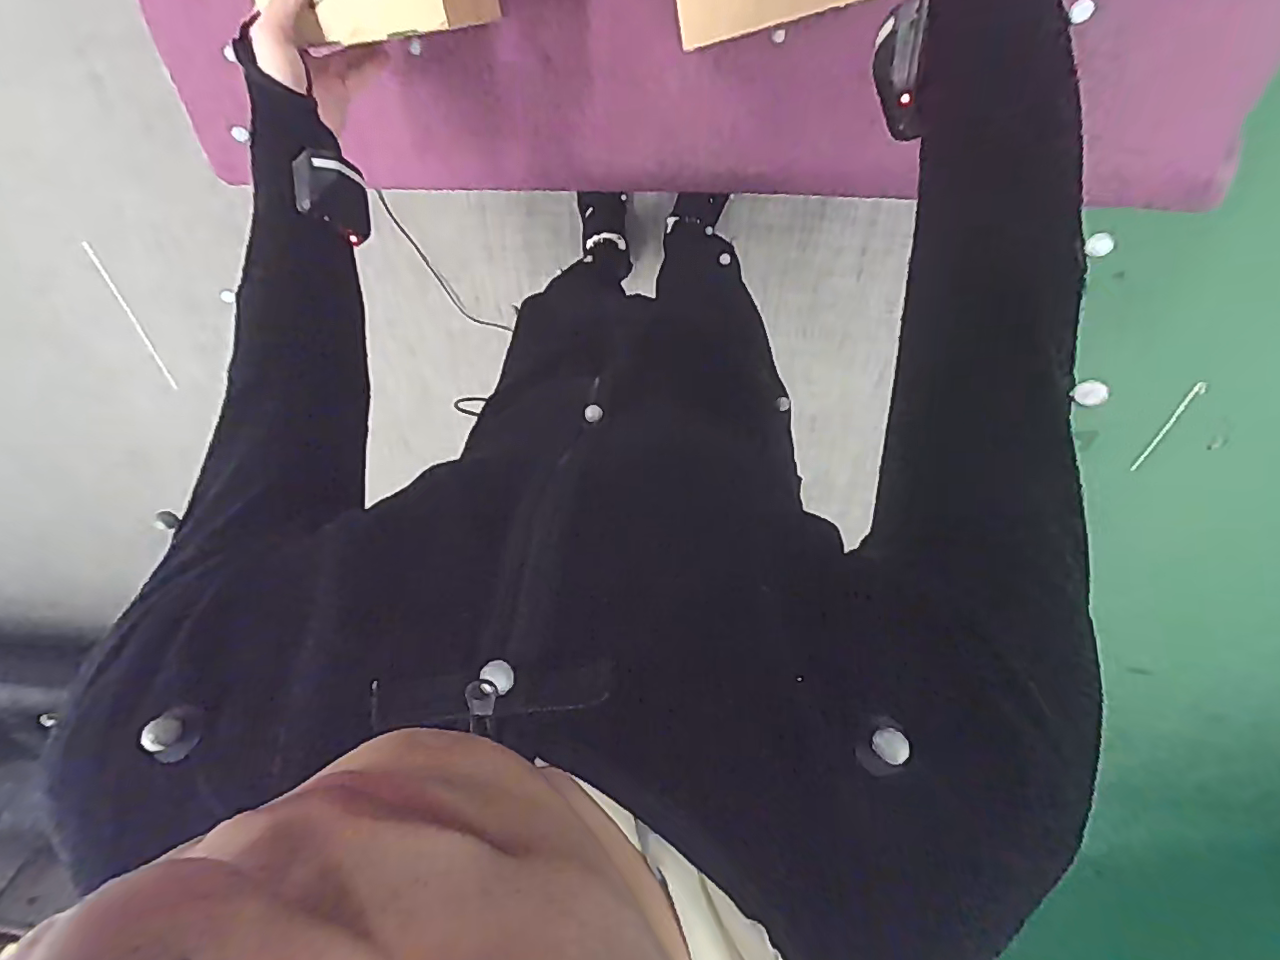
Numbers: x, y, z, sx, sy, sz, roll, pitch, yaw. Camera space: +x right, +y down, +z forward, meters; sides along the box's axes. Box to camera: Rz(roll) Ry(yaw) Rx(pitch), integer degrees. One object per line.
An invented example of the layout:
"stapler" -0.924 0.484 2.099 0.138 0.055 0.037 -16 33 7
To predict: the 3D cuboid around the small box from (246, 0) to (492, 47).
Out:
"small box" -0.246 -0.497 0.467 0.168 0.176 0.179 -1 132 7
